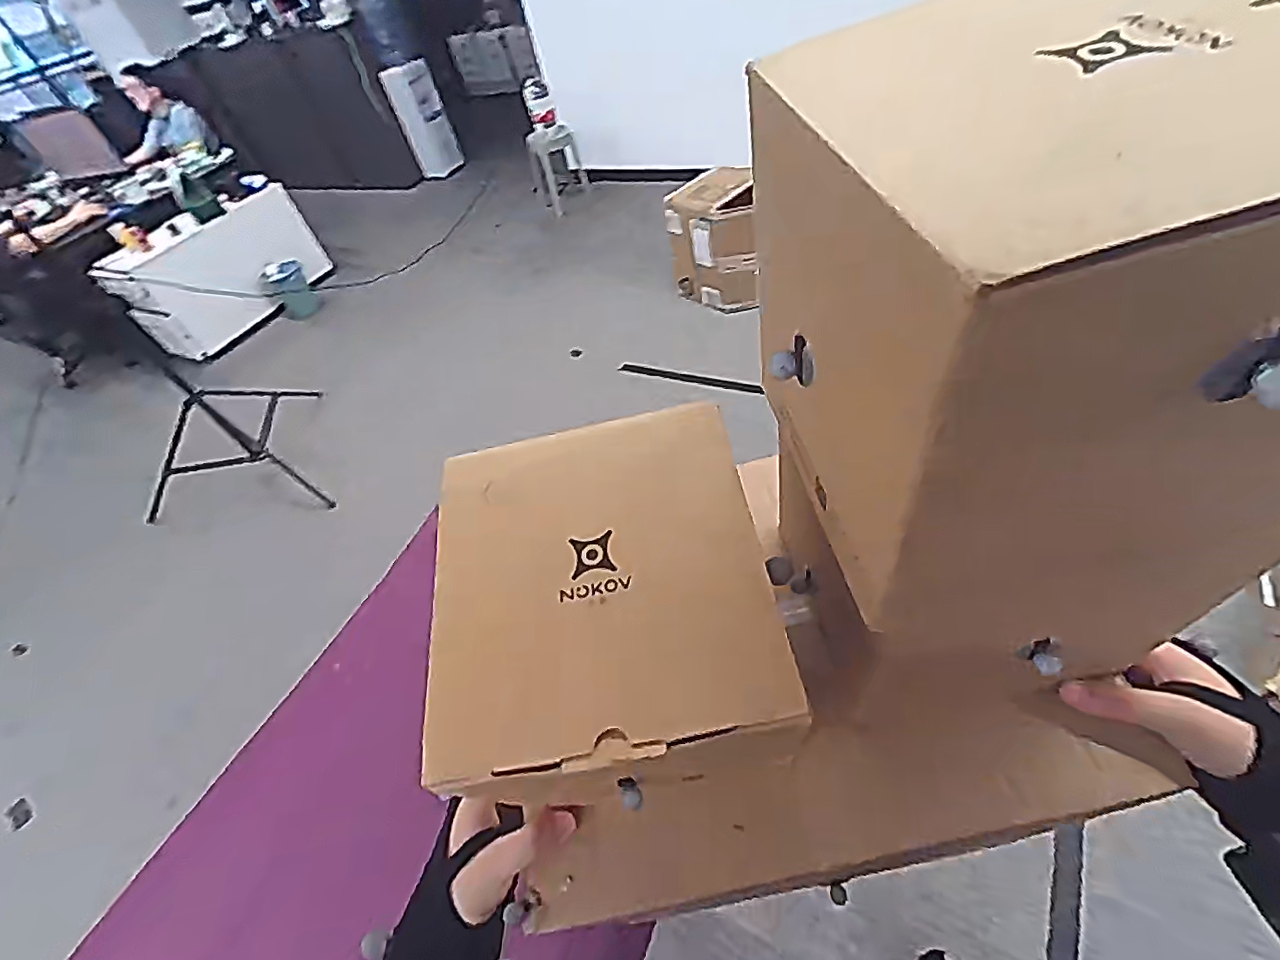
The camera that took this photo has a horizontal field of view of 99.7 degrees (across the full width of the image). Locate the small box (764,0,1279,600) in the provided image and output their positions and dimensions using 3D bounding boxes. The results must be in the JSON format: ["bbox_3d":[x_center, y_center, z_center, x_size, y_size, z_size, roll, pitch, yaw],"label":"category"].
[{"bbox_3d":[0.157,-0.072,0.208,0.179,0.176,0.168,-13,51,4],"label":"small box"}]
